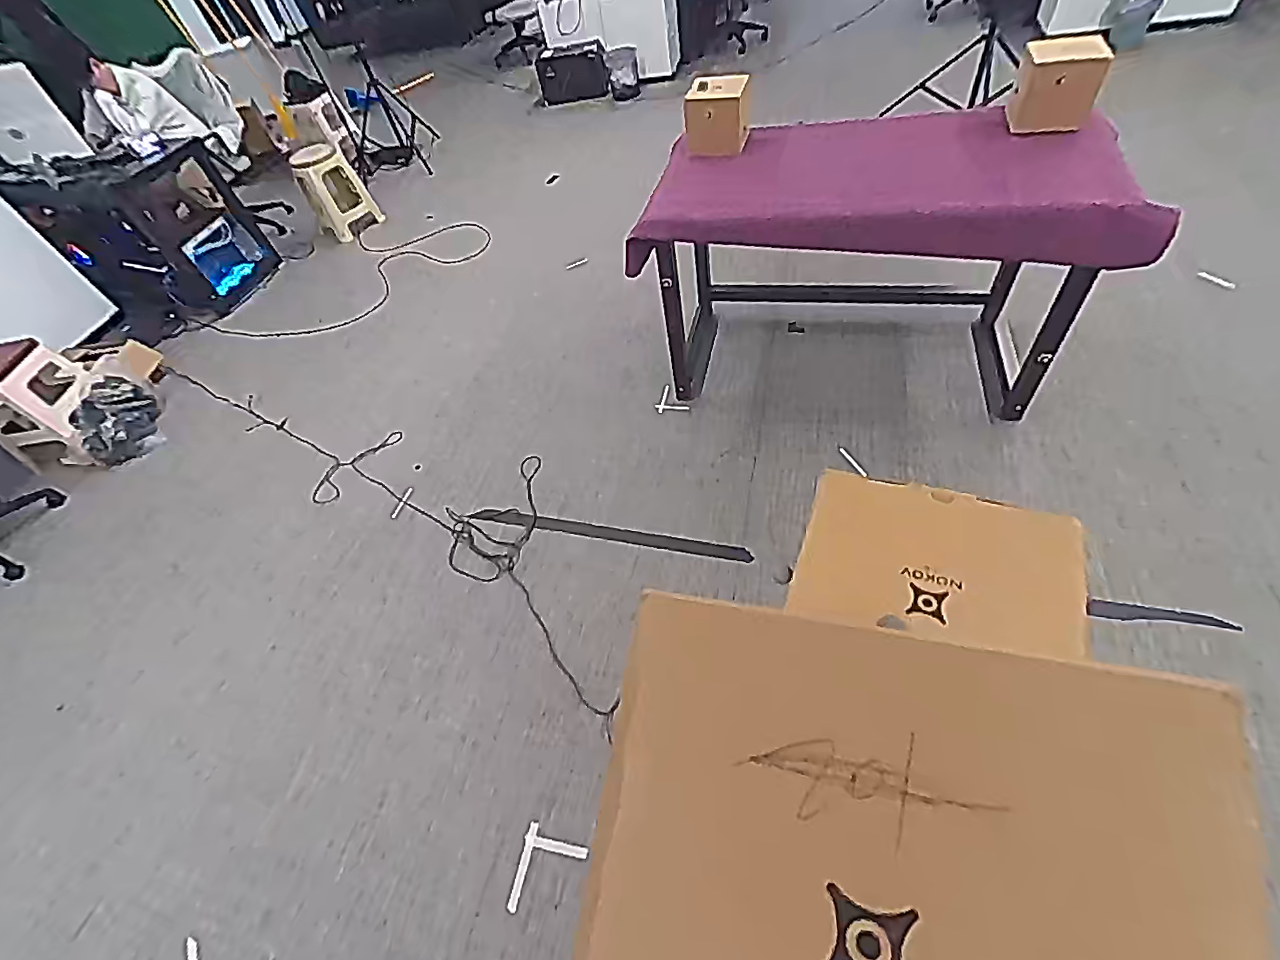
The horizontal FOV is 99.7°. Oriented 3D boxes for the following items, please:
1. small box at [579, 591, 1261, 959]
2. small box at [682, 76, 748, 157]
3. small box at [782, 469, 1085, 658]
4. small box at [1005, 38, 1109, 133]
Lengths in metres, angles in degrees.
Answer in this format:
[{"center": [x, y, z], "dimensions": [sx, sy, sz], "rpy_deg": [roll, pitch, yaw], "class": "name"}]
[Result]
[{"center": [0.087, 0.153, 0.218], "dimensions": [0.168, 0.176, 0.179], "rpy_deg": [4, 72, 19], "class": "small box"}, {"center": [0.245, -1.159, 1.730], "dimensions": [0.179, 0.176, 0.168], "rpy_deg": [9, 57, 17], "class": "small box"}, {"center": [0.196, 0.122, 0.403], "dimensions": [0.168, 0.176, 0.179], "rpy_deg": [13, 53, 21], "class": "small box"}, {"center": [1.131, -1.078, 1.486], "dimensions": [0.179, 0.176, 0.168], "rpy_deg": [7, 55, 16], "class": "small box"}]
